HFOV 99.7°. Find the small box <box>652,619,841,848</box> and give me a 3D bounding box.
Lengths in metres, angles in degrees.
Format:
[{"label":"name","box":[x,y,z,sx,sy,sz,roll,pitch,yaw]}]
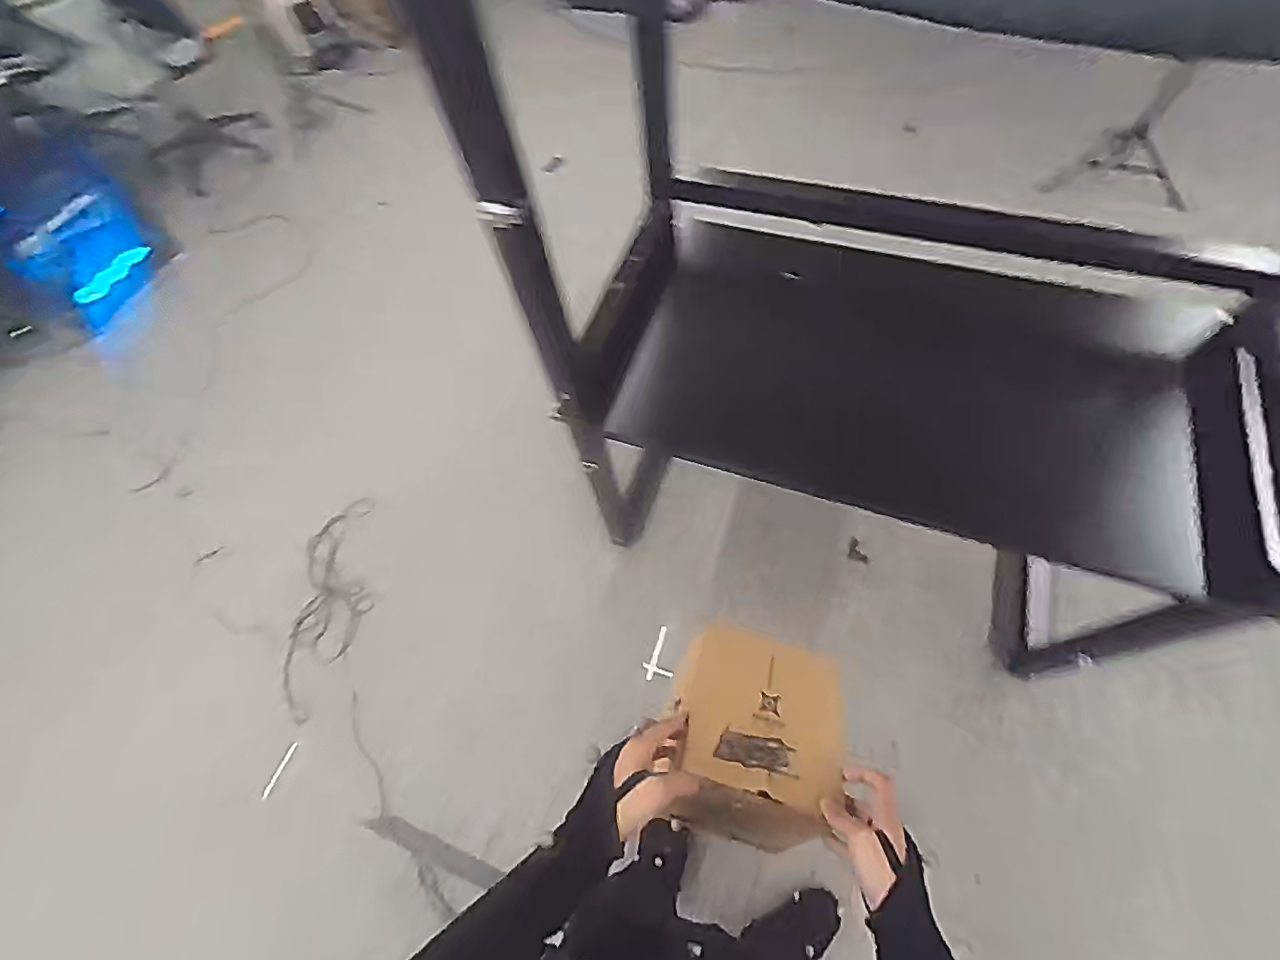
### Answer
[{"label":"small box","box":[0.120,0.300,0.635,0.168,0.176,0.179,18,45,1]}]
